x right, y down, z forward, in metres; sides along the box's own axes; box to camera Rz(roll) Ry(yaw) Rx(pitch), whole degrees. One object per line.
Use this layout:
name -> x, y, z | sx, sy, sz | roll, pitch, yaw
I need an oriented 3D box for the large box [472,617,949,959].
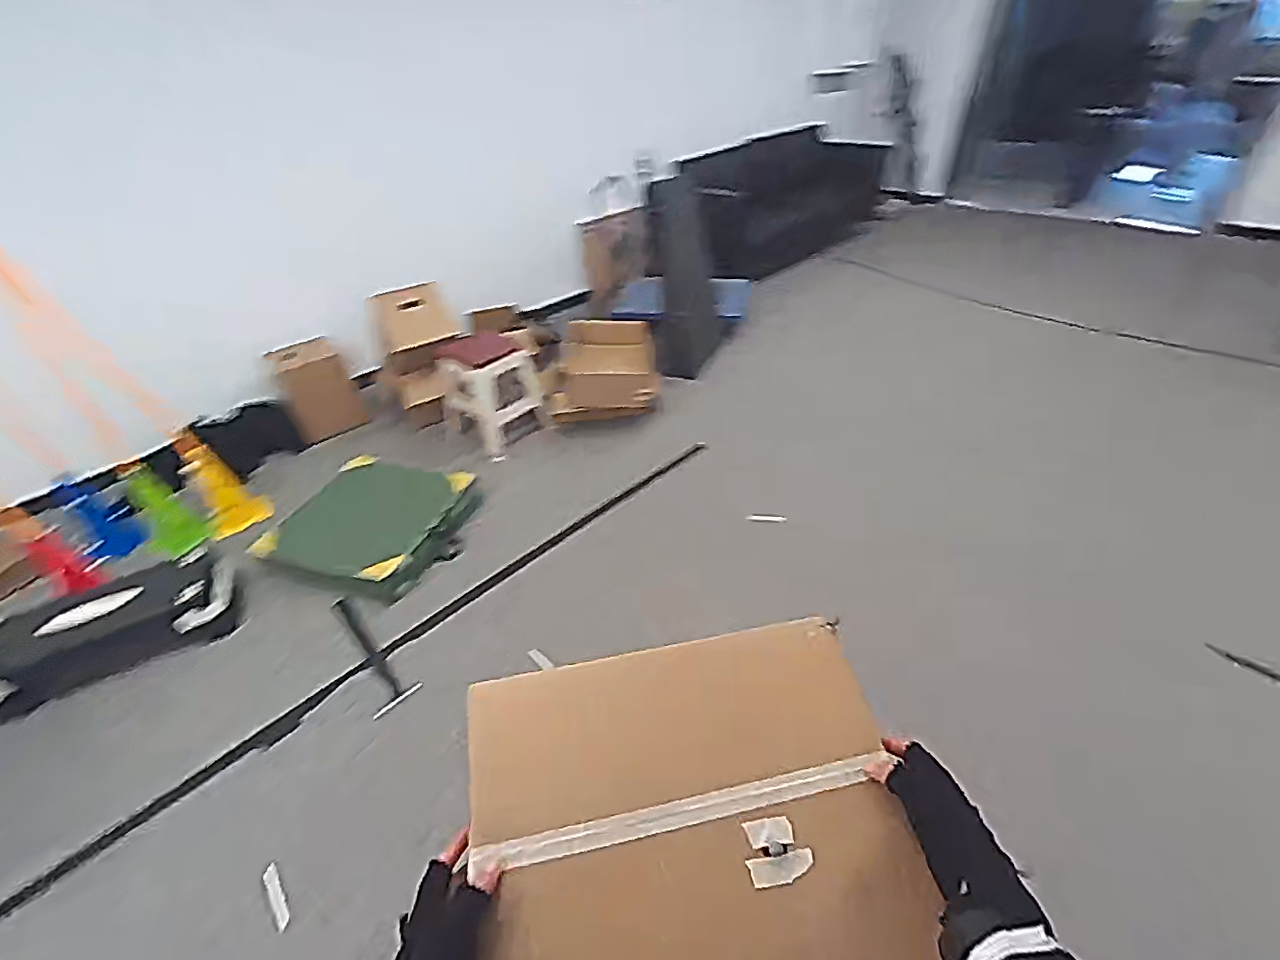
large box -> 0.041, 0.404, 0.642 | 0.408, 0.320, 0.320 | -9, 54, -8
